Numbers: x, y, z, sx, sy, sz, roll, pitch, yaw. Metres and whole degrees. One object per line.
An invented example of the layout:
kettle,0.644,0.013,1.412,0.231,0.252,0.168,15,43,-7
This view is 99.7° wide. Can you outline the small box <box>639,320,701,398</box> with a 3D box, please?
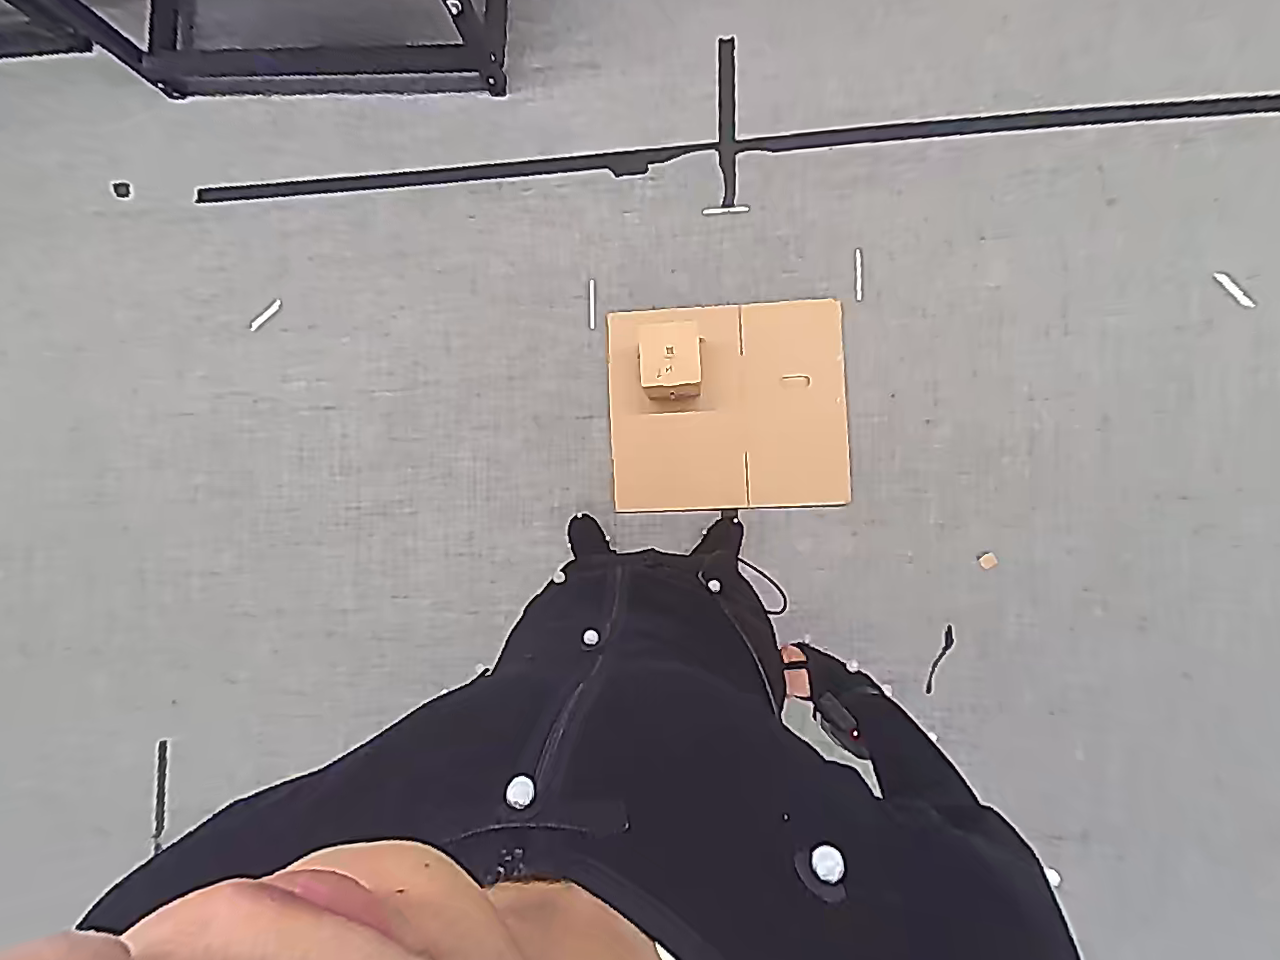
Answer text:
small box,0.087,-0.341,1.546,0.168,0.176,0.179,-3,88,6
